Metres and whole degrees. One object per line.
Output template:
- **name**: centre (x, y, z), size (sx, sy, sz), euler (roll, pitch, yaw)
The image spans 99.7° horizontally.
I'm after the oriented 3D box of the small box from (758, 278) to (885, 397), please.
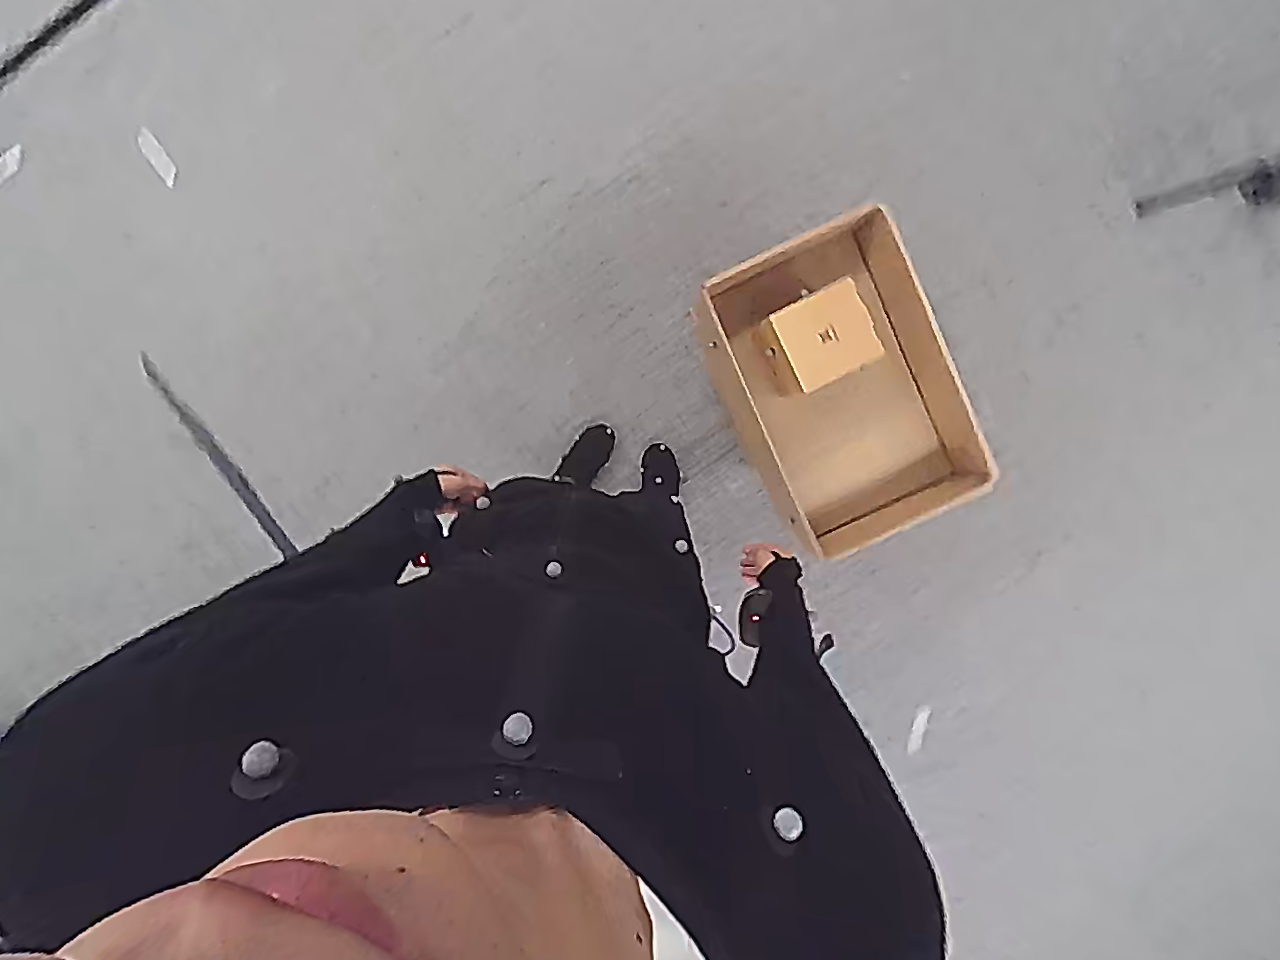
- **small box**: centre (0.356, -0.279, 1.103), size (0.179, 0.176, 0.168), euler (-26, 96, 1)
